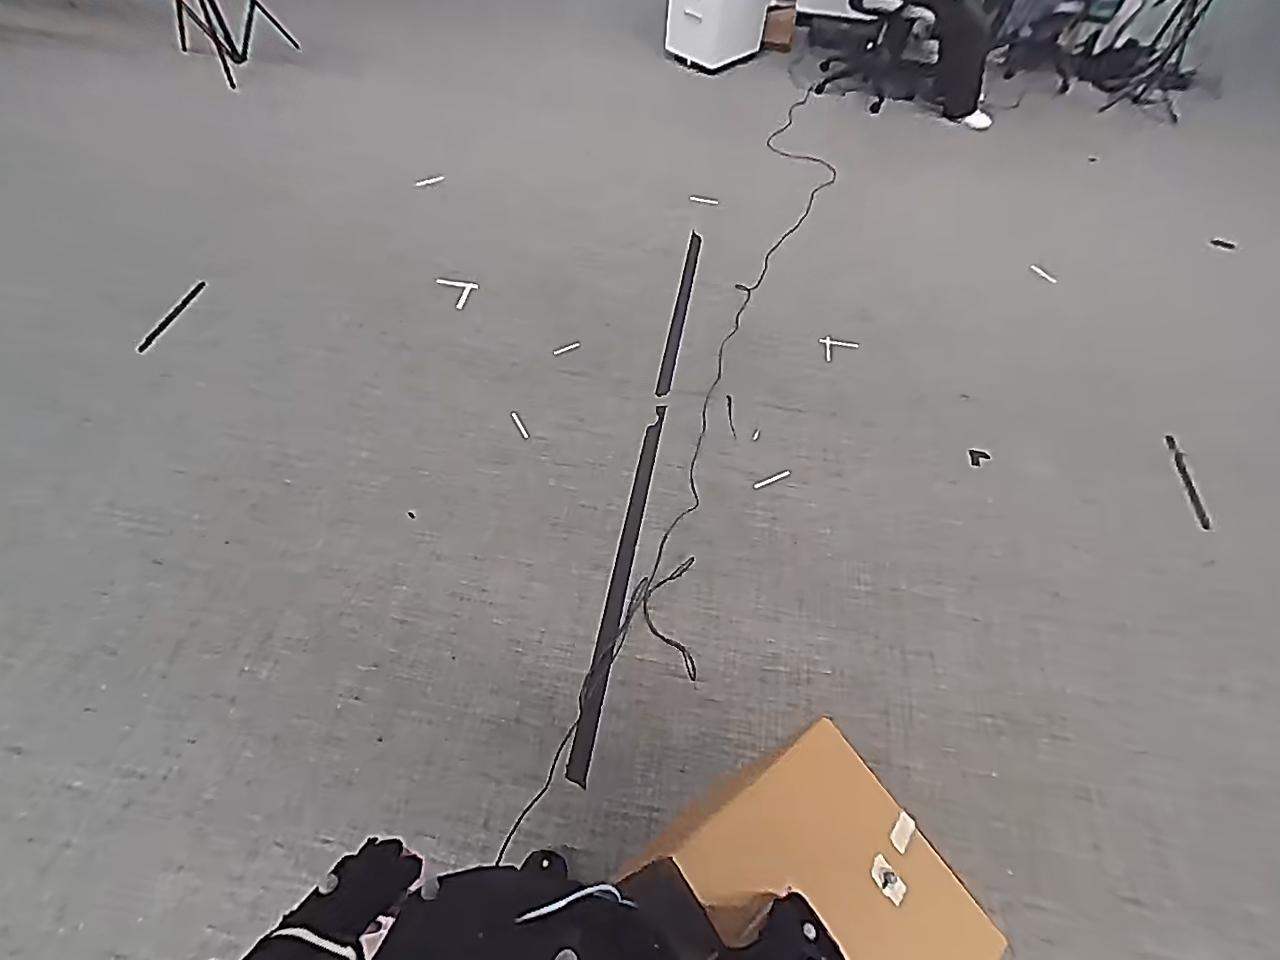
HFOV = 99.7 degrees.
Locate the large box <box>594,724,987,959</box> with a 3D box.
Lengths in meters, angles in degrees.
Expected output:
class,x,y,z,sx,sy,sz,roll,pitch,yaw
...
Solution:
class,x,y,z,sx,sy,sz,roll,pitch,yaw
large box,0.179,0.628,0.775,0.320,0.408,0.320,-18,57,-34
